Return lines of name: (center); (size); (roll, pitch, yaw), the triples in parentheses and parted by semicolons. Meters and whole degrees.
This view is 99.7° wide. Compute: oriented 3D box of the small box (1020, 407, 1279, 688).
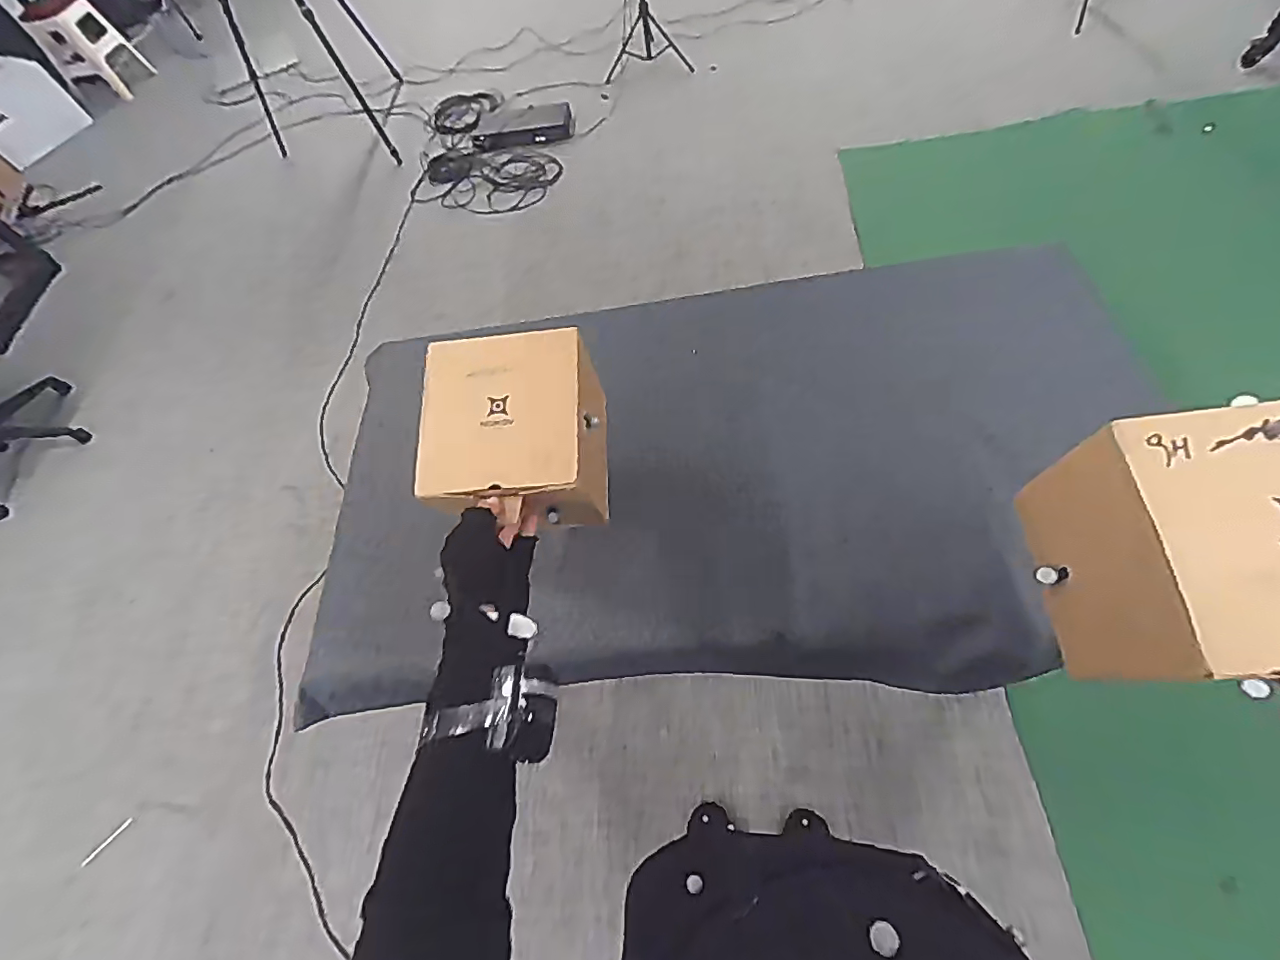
small box: (0.434, 0.059, 0.413); (0.168, 0.176, 0.179); (-6, 70, 10)

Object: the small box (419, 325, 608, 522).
small box: (-0.130, -0.051, 0.622); (0.168, 0.176, 0.179); (-3, 71, 5)
